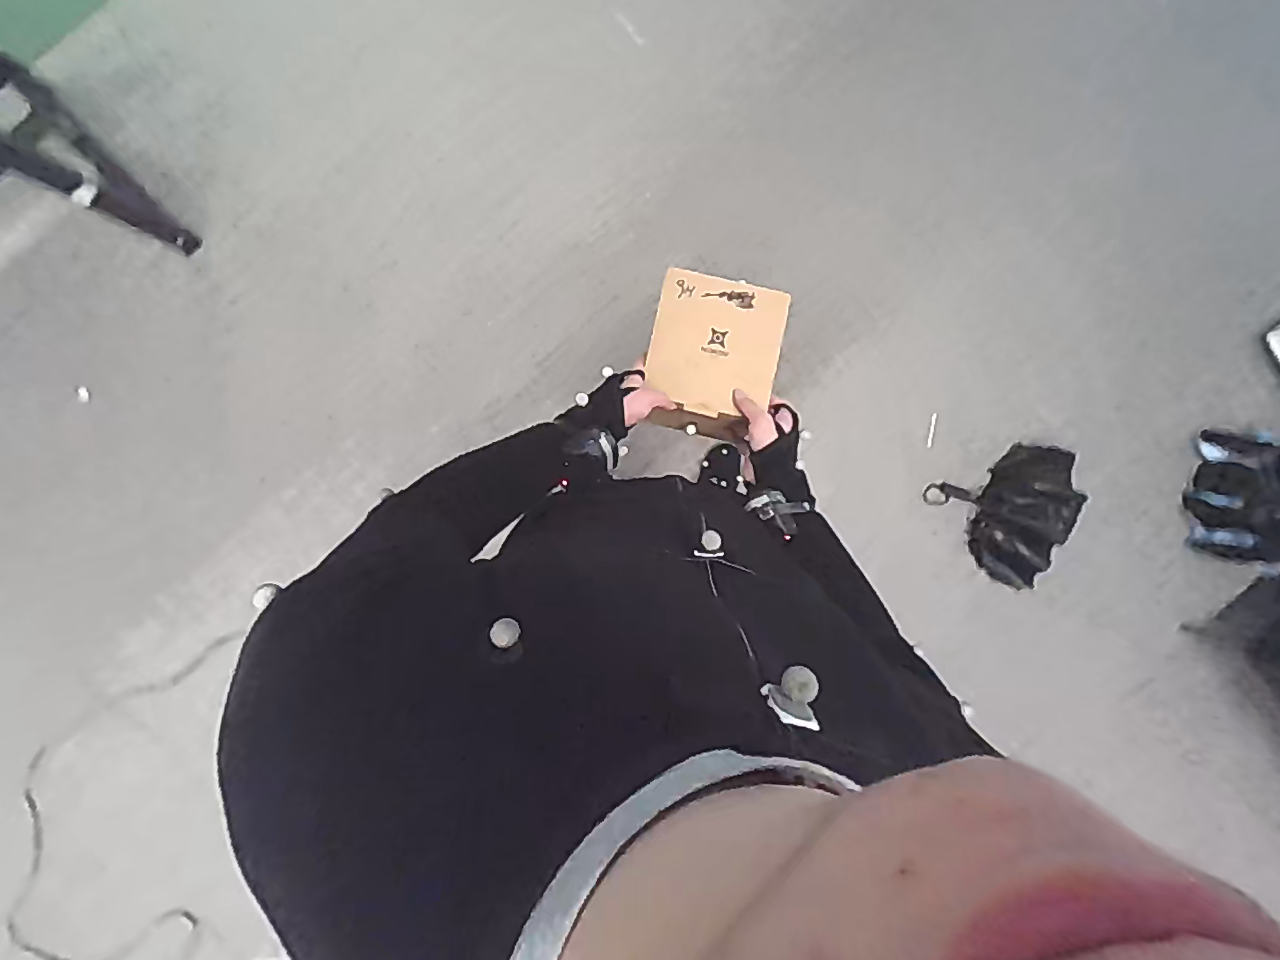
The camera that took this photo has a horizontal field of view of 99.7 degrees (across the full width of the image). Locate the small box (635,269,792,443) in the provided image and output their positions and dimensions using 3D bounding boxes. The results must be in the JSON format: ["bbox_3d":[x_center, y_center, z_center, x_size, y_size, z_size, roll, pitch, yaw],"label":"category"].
[{"bbox_3d":[0.092,-0.157,0.749,0.168,0.176,0.179,13,86,0],"label":"small box"}]
